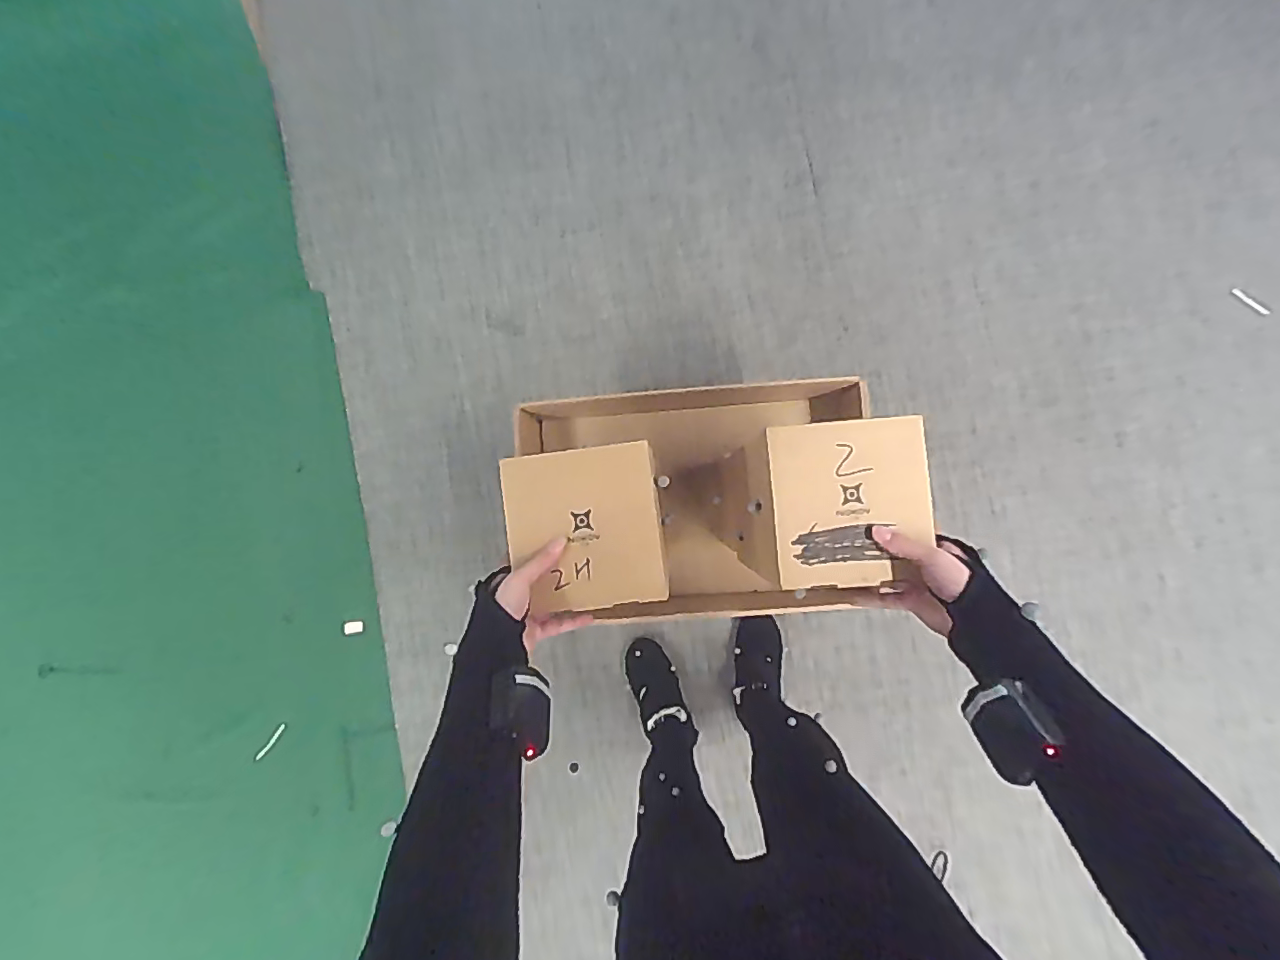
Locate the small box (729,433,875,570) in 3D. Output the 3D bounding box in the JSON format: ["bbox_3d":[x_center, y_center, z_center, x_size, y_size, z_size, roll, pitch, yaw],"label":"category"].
[{"bbox_3d":[0.227,0.032,0.798,0.168,0.176,0.179,-5,86,2],"label":"small box"}]

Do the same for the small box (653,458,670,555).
[{"bbox_3d":[-0.041,0.057,0.979,0.179,0.176,0.168,-7,87,1],"label":"small box"}]

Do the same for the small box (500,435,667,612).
[{"bbox_3d":[-0.059,0.050,0.652,0.168,0.176,0.179,-7,88,3],"label":"small box"}]
